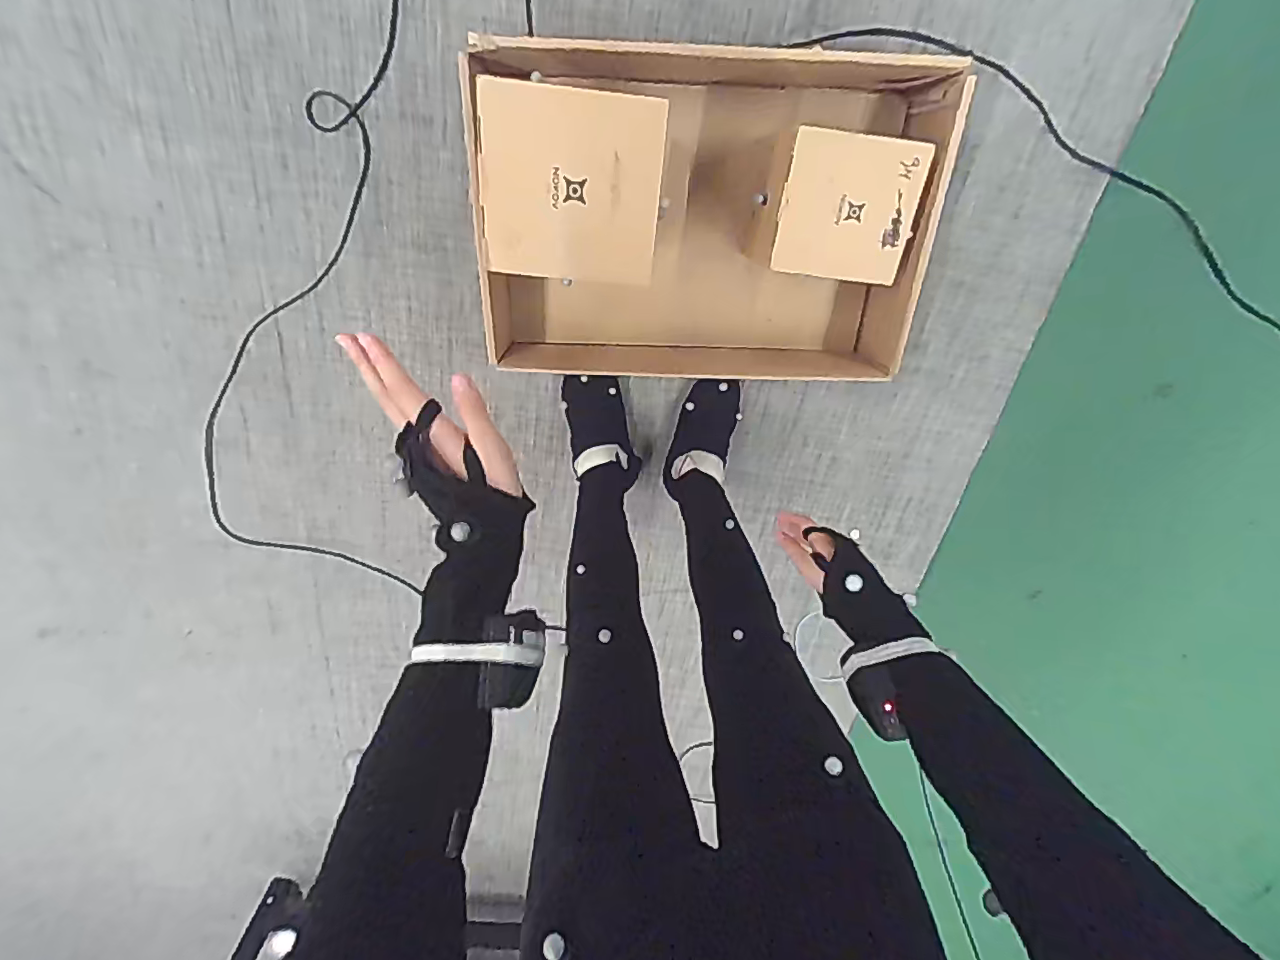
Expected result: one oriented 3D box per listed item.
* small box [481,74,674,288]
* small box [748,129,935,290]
[{"bbox_3d":[-0.067,-0.318,0.592,0.179,0.176,0.168,5,119,-5],"label":"small box"},{"bbox_3d":[0.262,-0.373,0.758,0.179,0.176,0.168,6,117,-4],"label":"small box"}]
